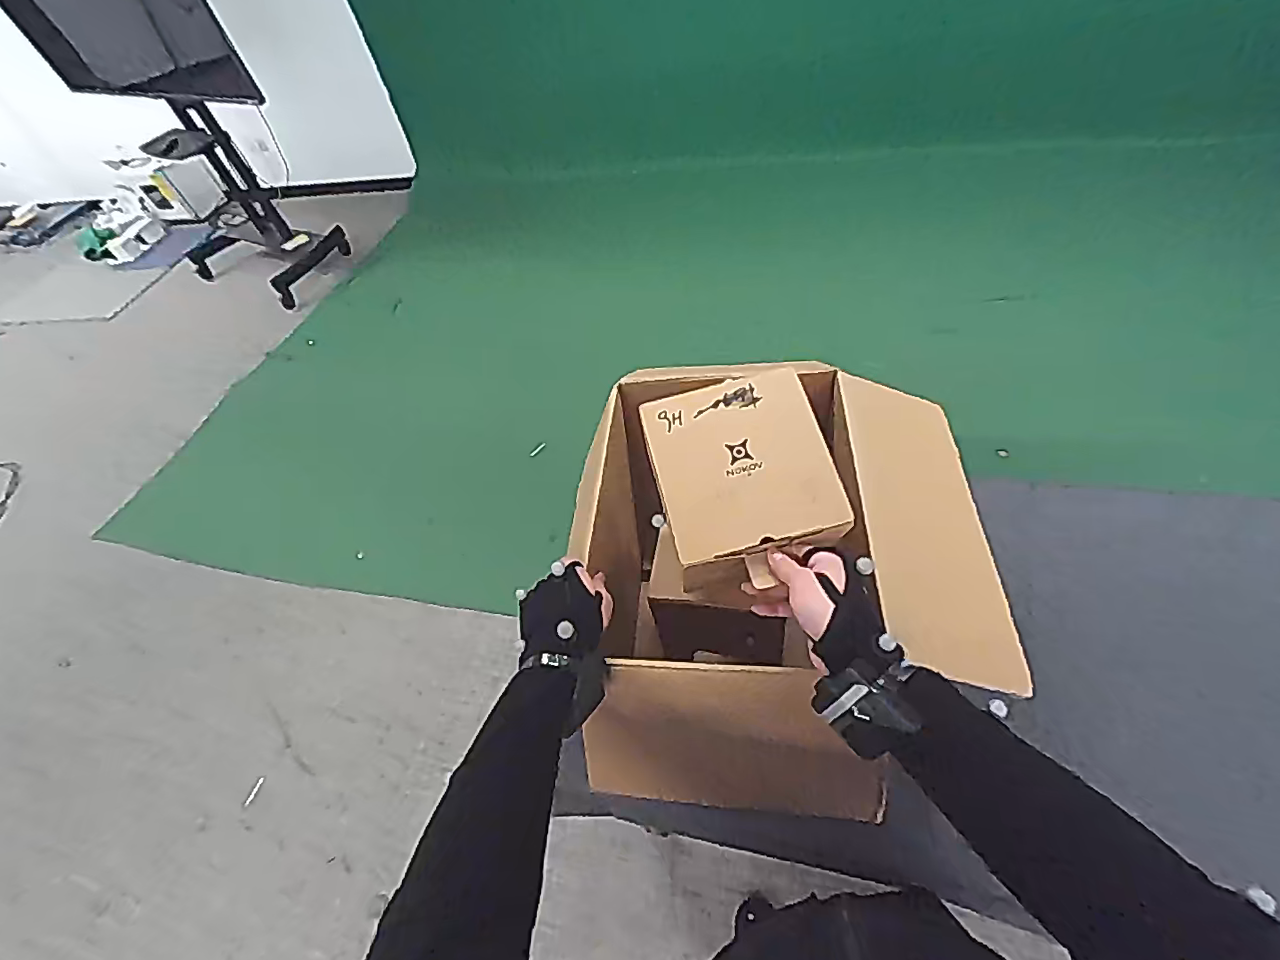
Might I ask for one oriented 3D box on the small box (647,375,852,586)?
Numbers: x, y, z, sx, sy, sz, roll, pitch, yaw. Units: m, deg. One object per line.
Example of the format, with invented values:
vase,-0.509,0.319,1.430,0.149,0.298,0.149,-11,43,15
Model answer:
small box,0.113,0.014,0.608,0.168,0.176,0.179,-14,69,1
